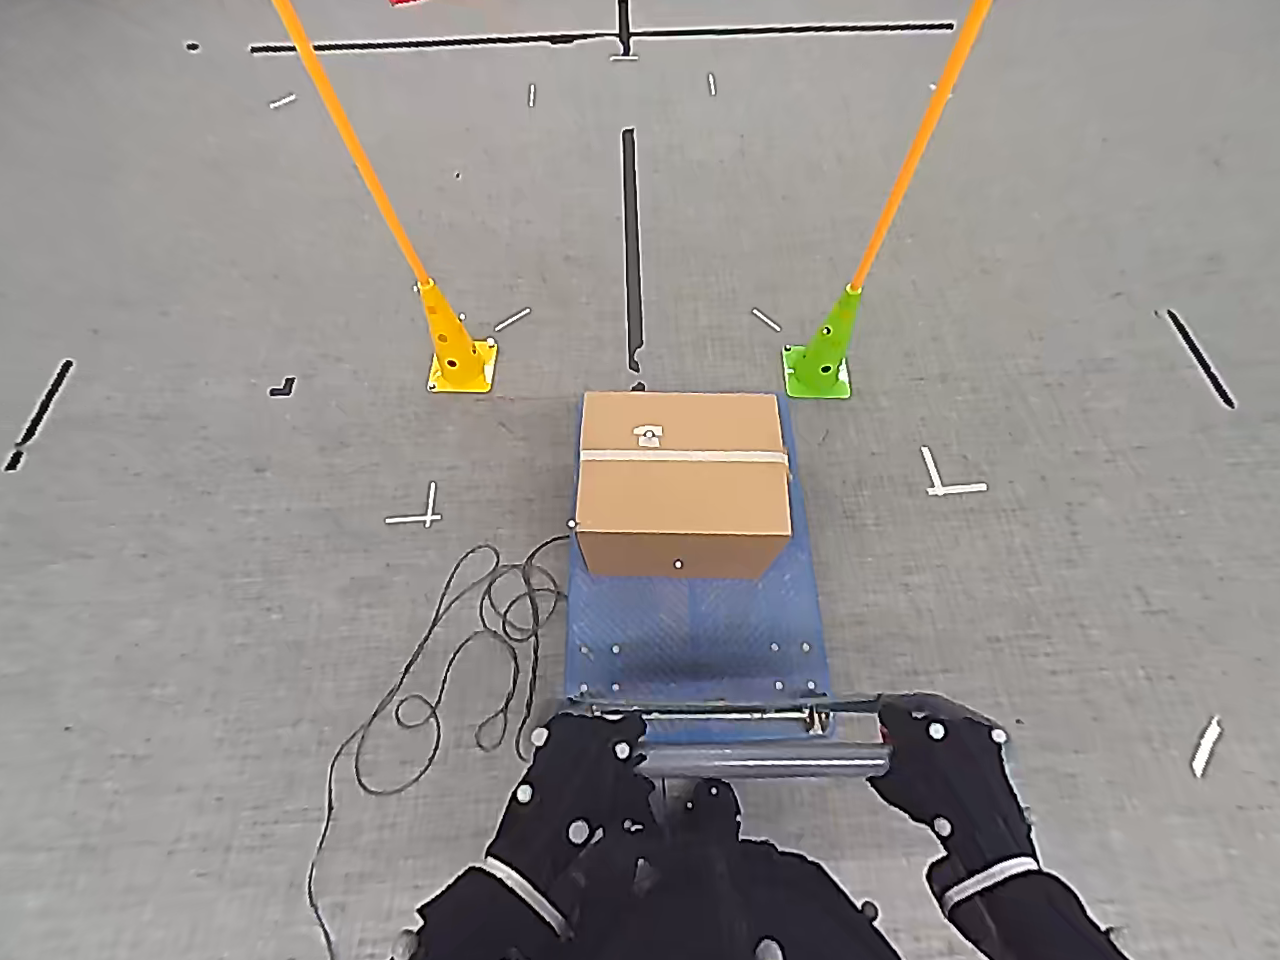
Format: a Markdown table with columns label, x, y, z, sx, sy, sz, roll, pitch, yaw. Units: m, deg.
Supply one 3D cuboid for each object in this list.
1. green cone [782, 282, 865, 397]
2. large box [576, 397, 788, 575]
| label | x | y | z | sx | sy | sz | roll | pitch | yaw |
| --- | --- | --- | --- | --- | --- | --- | --- | --- | --- |
| green cone | 0.565 | -0.427 | 1.582 | 0.202 | 0.368 | 0.200 | 2 | 64 | 0 |
| large box | 0.084 | 0.028 | 1.206 | 0.408 | 0.320 | 0.320 | 0 | 65 | 1 |
